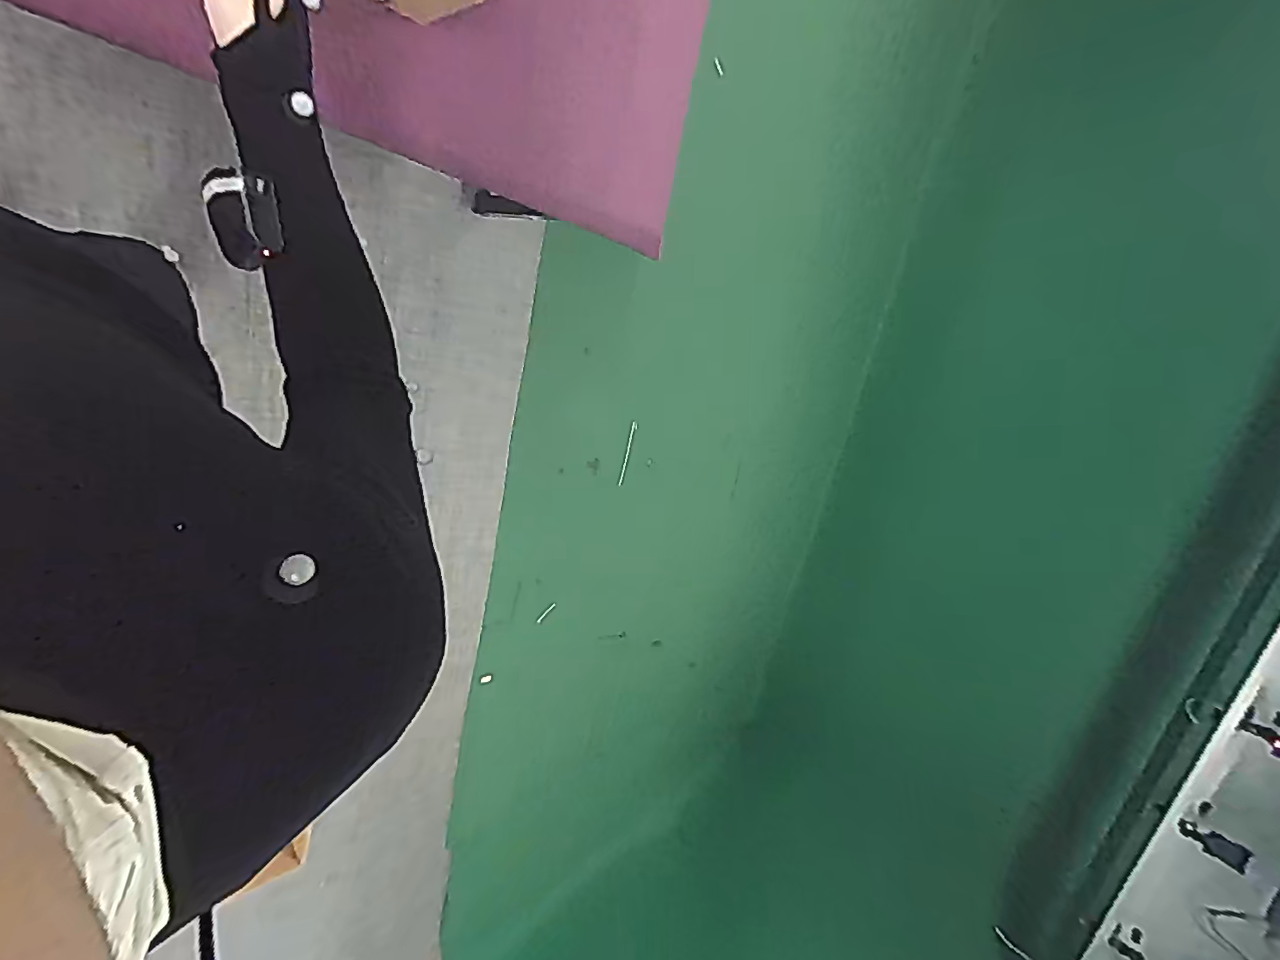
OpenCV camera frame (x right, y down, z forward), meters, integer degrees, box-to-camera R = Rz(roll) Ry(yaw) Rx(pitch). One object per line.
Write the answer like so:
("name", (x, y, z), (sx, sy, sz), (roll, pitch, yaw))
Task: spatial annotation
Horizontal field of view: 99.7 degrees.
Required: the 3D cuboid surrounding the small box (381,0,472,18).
("small box", (-0.289, -0.697, 0.632), (0.168, 0.176, 0.179), (-7, 114, -47))
